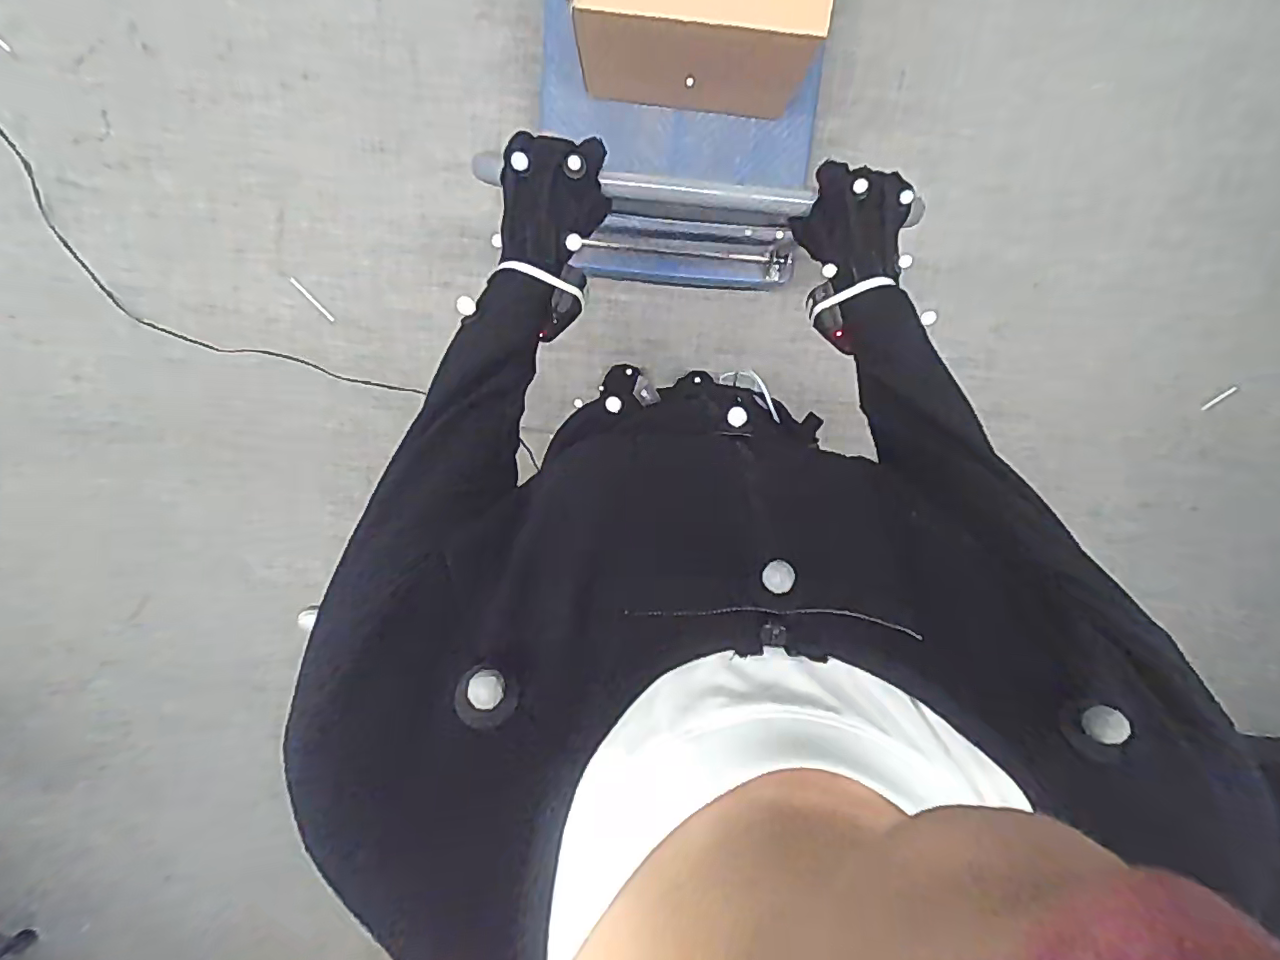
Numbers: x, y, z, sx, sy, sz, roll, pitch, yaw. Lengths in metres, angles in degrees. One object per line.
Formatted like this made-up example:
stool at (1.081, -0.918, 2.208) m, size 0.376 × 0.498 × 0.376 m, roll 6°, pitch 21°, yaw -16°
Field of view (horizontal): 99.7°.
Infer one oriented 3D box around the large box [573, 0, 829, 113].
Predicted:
large box at (0.107, -0.897, 0.960) m, size 0.408 × 0.320 × 0.320 m, roll 5°, pitch 102°, yaw -1°
